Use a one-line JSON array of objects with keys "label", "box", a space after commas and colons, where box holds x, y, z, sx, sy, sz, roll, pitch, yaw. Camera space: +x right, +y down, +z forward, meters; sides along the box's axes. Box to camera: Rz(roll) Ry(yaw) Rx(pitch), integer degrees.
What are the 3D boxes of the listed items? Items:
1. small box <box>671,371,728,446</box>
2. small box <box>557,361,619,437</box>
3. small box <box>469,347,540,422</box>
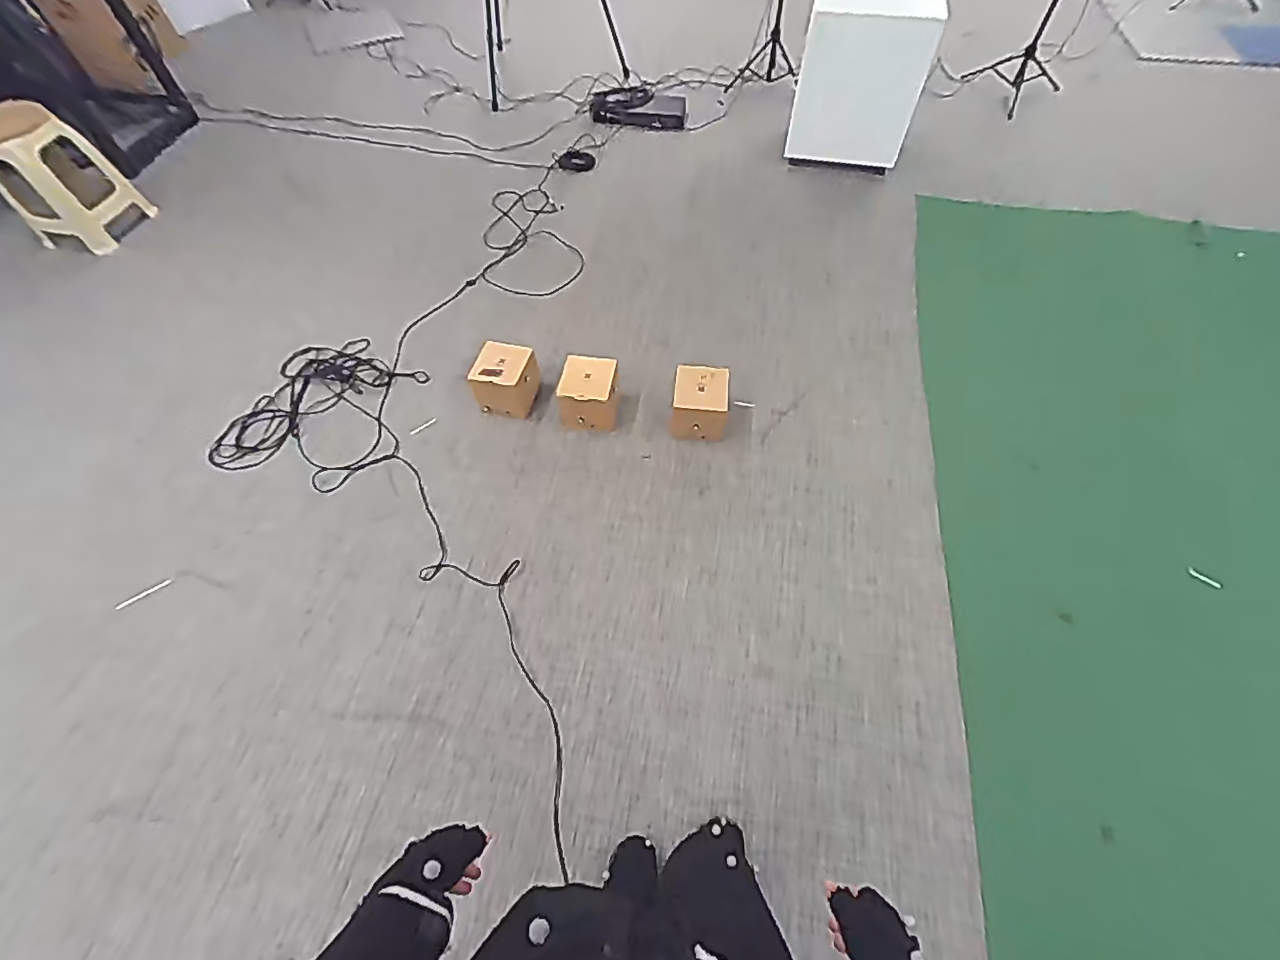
[{"label": "small box", "box": [0.191, -0.228, 1.756, 0.168, 0.176, 0.179, 6, 58, 4]}, {"label": "small box", "box": [-0.165, -0.267, 1.790, 0.168, 0.176, 0.179, 7, 59, 6]}, {"label": "small box", "box": [-0.449, -0.318, 1.827, 0.168, 0.176, 0.179, 11, 58, 8]}]
